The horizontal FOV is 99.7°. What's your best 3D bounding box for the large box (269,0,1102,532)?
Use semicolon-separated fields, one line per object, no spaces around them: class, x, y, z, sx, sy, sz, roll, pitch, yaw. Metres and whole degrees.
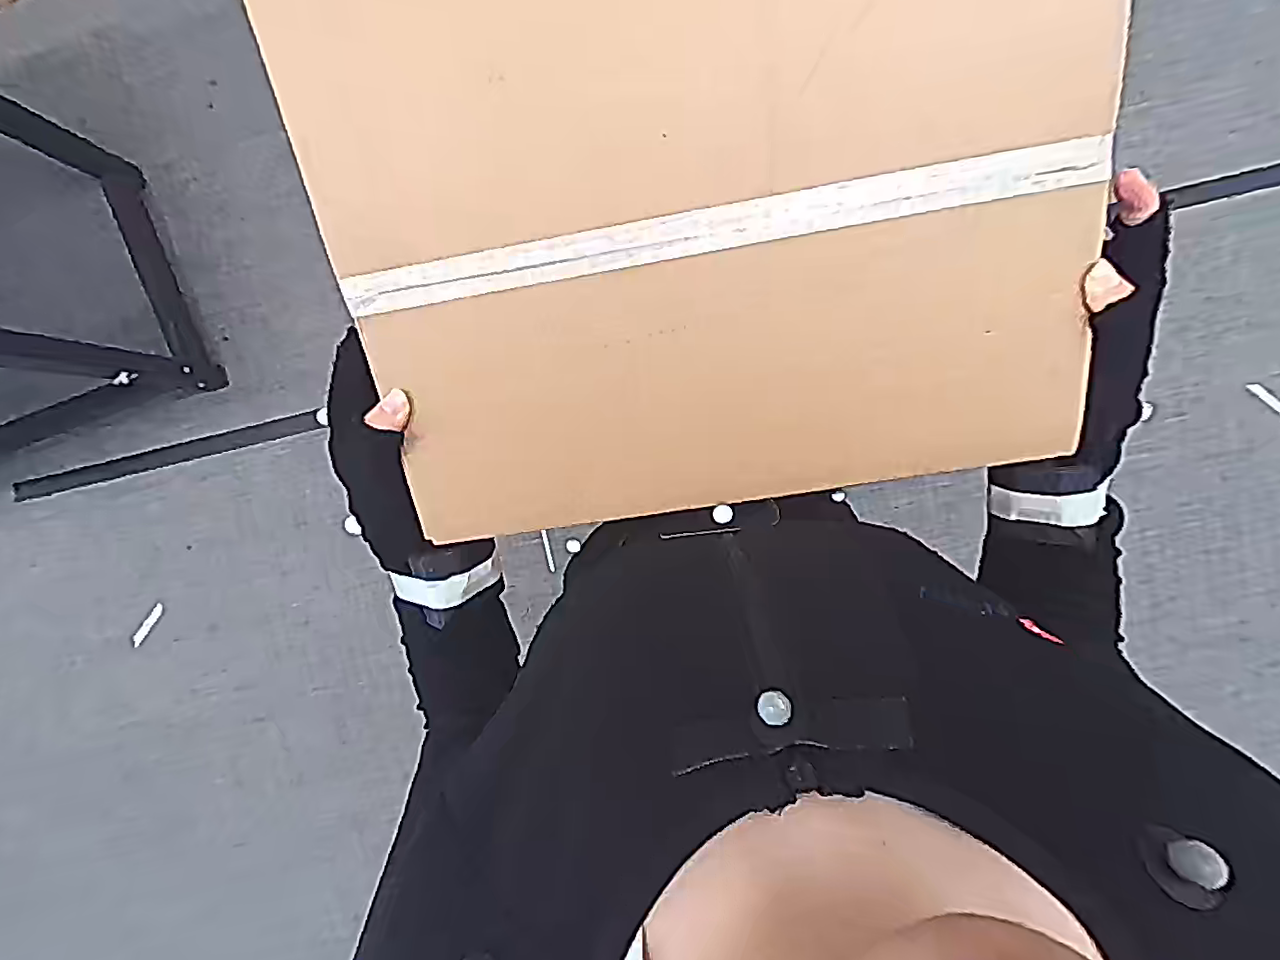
large box;0.037;-0.187;0.437;0.408;0.320;0.320;-9;111;4
